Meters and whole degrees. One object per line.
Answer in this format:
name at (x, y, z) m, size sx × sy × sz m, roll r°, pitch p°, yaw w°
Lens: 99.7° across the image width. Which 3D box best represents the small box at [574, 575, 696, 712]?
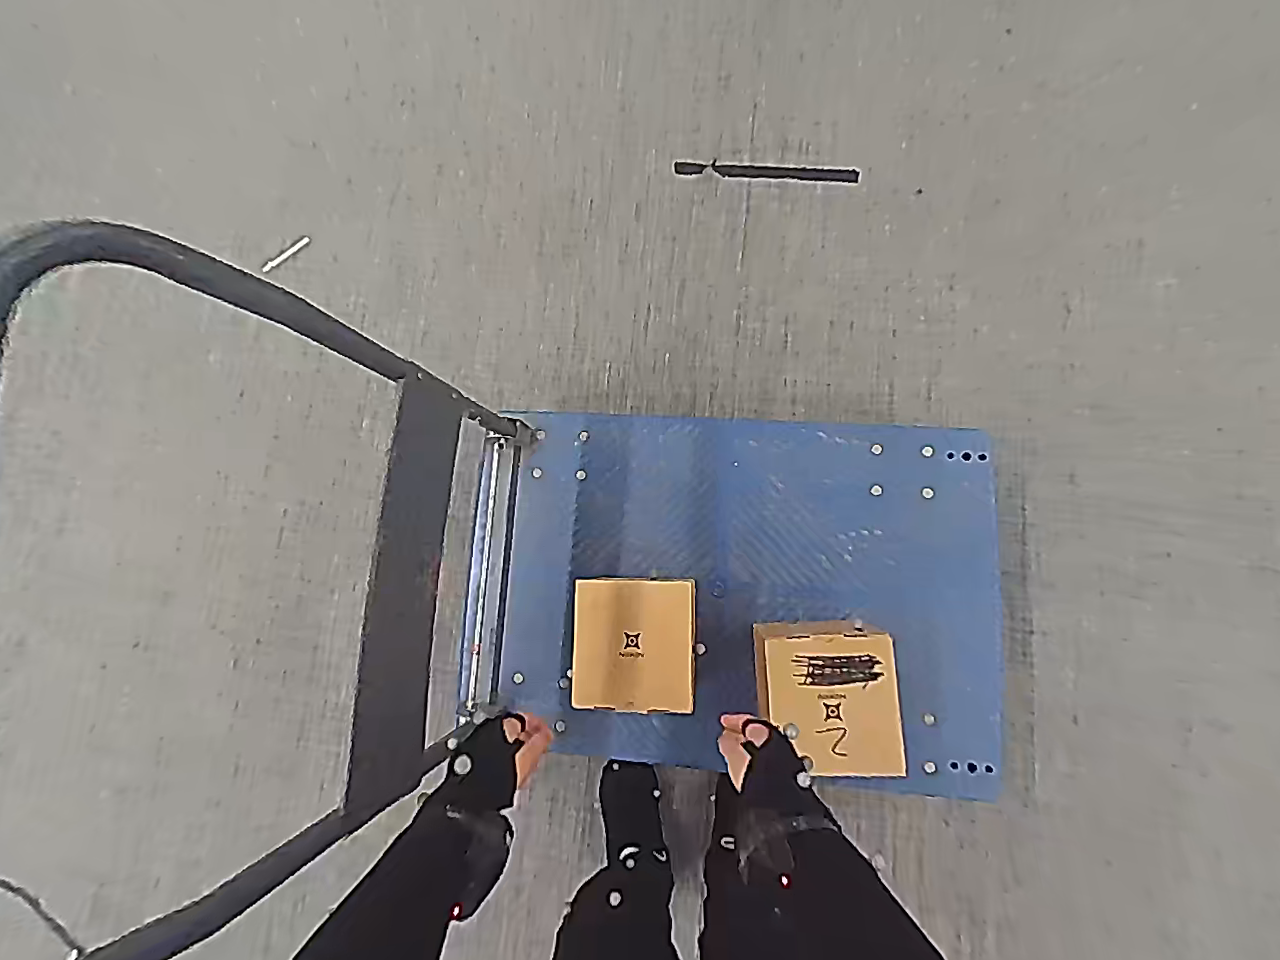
small box at (0.001, 0.234, 0.814) m, size 0.168 × 0.176 × 0.179 m, roll 0°, pitch 82°, yaw 6°
